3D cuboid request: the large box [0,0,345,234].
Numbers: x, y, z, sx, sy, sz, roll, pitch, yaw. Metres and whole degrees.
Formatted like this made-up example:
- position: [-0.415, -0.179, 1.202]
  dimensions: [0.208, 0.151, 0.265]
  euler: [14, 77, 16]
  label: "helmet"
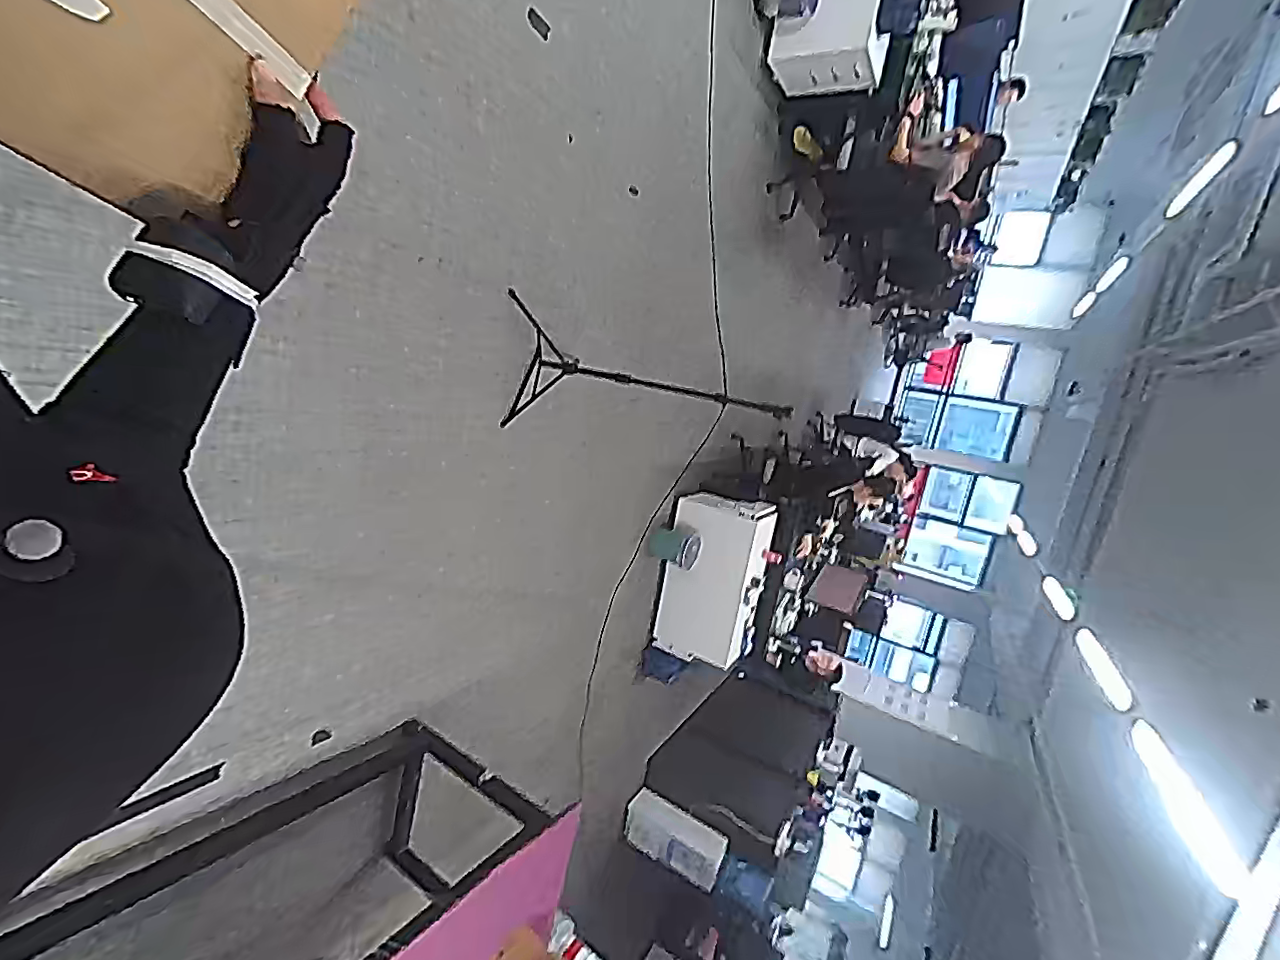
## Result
- position: [-0.478, -0.442, 0.340]
  dimensions: [0.320, 0.320, 0.408]
  euler: [-58, 153, 0]
  label: "large box"
